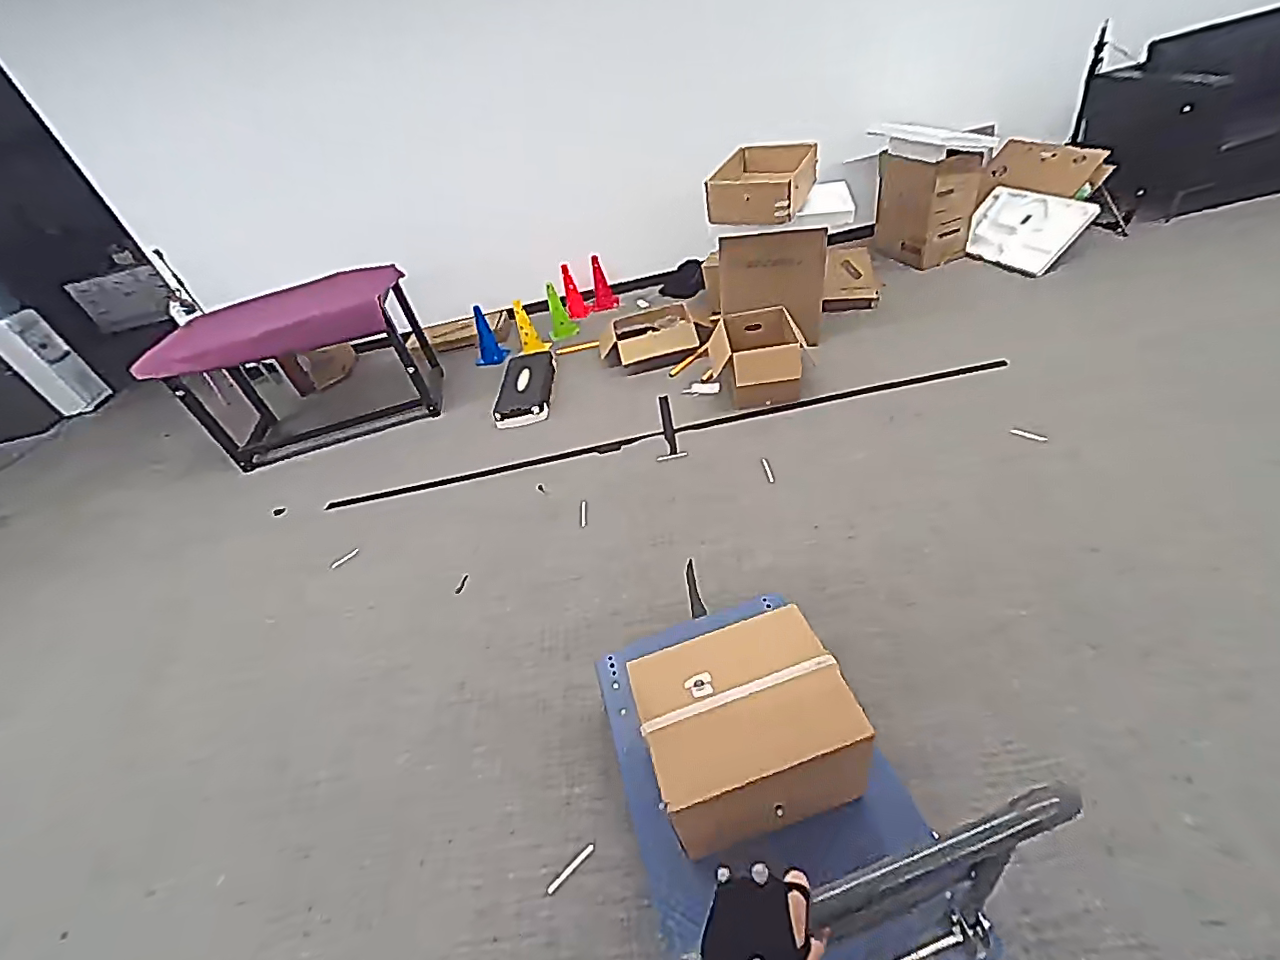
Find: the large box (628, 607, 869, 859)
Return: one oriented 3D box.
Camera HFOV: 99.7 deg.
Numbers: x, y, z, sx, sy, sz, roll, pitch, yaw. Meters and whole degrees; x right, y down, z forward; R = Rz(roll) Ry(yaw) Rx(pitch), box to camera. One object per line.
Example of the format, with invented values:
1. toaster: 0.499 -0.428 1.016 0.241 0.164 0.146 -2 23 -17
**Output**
1. large box: 0.230 0.550 1.185 0.408 0.320 0.320 -20 39 -4
